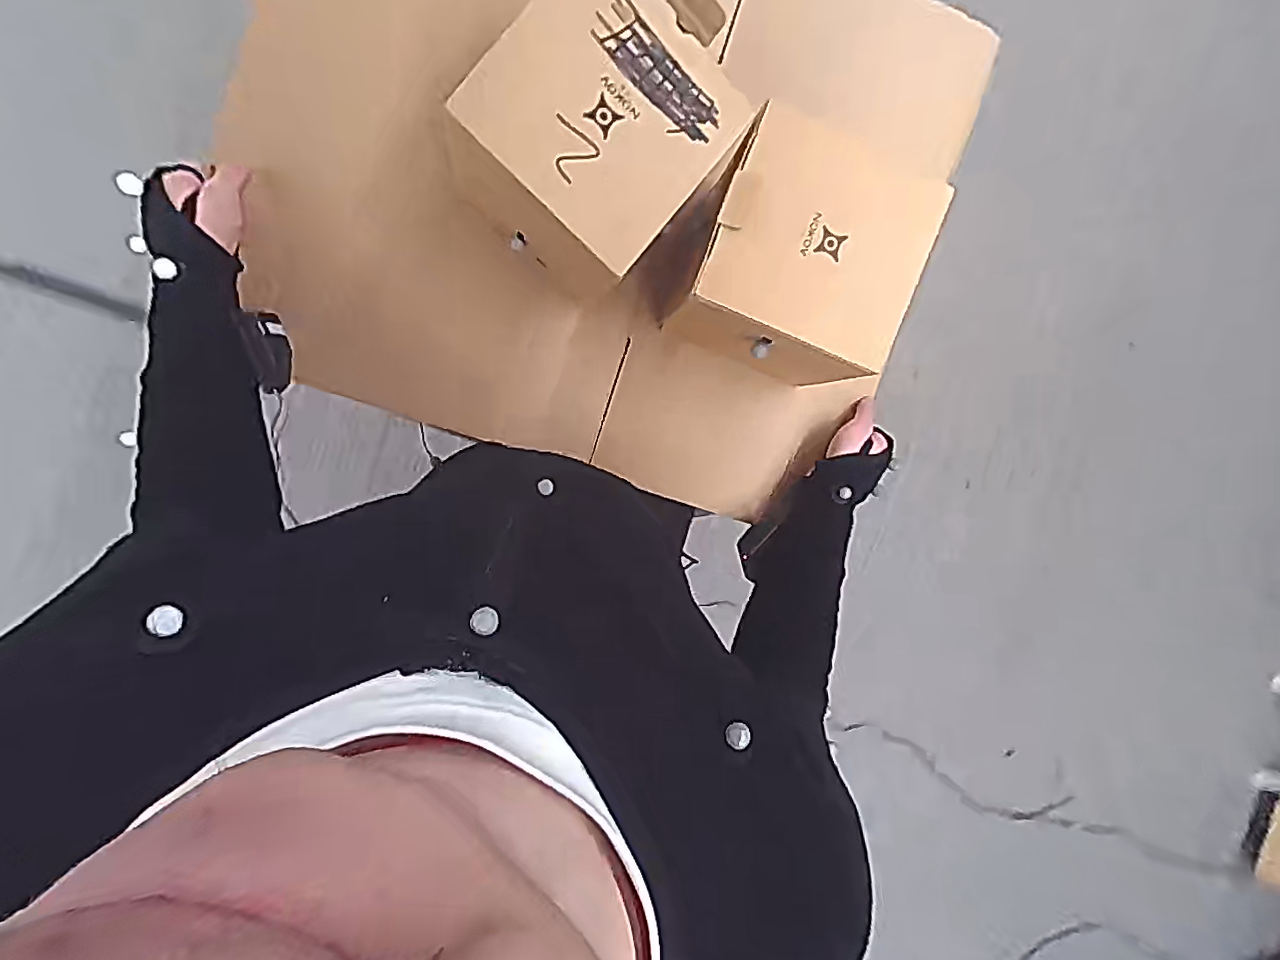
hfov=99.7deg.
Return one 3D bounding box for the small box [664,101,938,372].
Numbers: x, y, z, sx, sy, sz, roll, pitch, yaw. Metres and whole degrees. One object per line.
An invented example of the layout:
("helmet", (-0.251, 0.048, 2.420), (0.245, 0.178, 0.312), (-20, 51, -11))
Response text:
("small box", (0.139, -0.213, 0.532), (0.179, 0.176, 0.168), (19, 93, -8))
